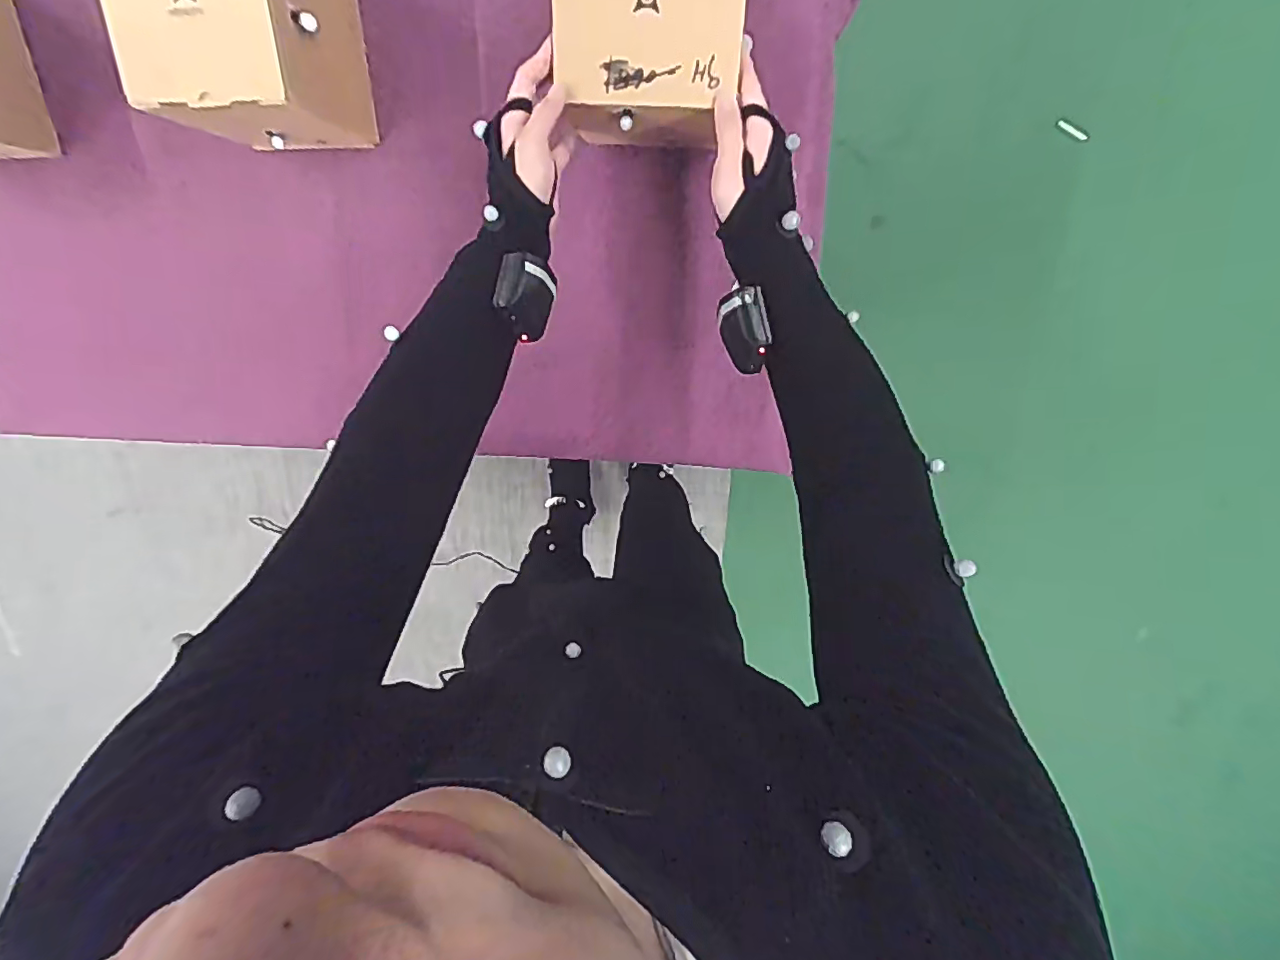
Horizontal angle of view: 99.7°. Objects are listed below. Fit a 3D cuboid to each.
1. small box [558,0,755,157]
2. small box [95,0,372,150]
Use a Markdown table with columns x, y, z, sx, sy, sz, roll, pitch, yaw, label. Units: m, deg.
| x | y | z | sx | sy | sz | roll | pitch | yaw | label |
| --- | --- | --- | --- | --- | --- | --- | --- | --- | --- |
| 0.019 | -0.435 | 0.522 | 0.168 | 0.176 | 0.179 | 5 | 111 | 3 | small box |
| -0.407 | -0.464 | 0.561 | 0.168 | 0.176 | 0.179 | 1 | 110 | 3 | small box |
